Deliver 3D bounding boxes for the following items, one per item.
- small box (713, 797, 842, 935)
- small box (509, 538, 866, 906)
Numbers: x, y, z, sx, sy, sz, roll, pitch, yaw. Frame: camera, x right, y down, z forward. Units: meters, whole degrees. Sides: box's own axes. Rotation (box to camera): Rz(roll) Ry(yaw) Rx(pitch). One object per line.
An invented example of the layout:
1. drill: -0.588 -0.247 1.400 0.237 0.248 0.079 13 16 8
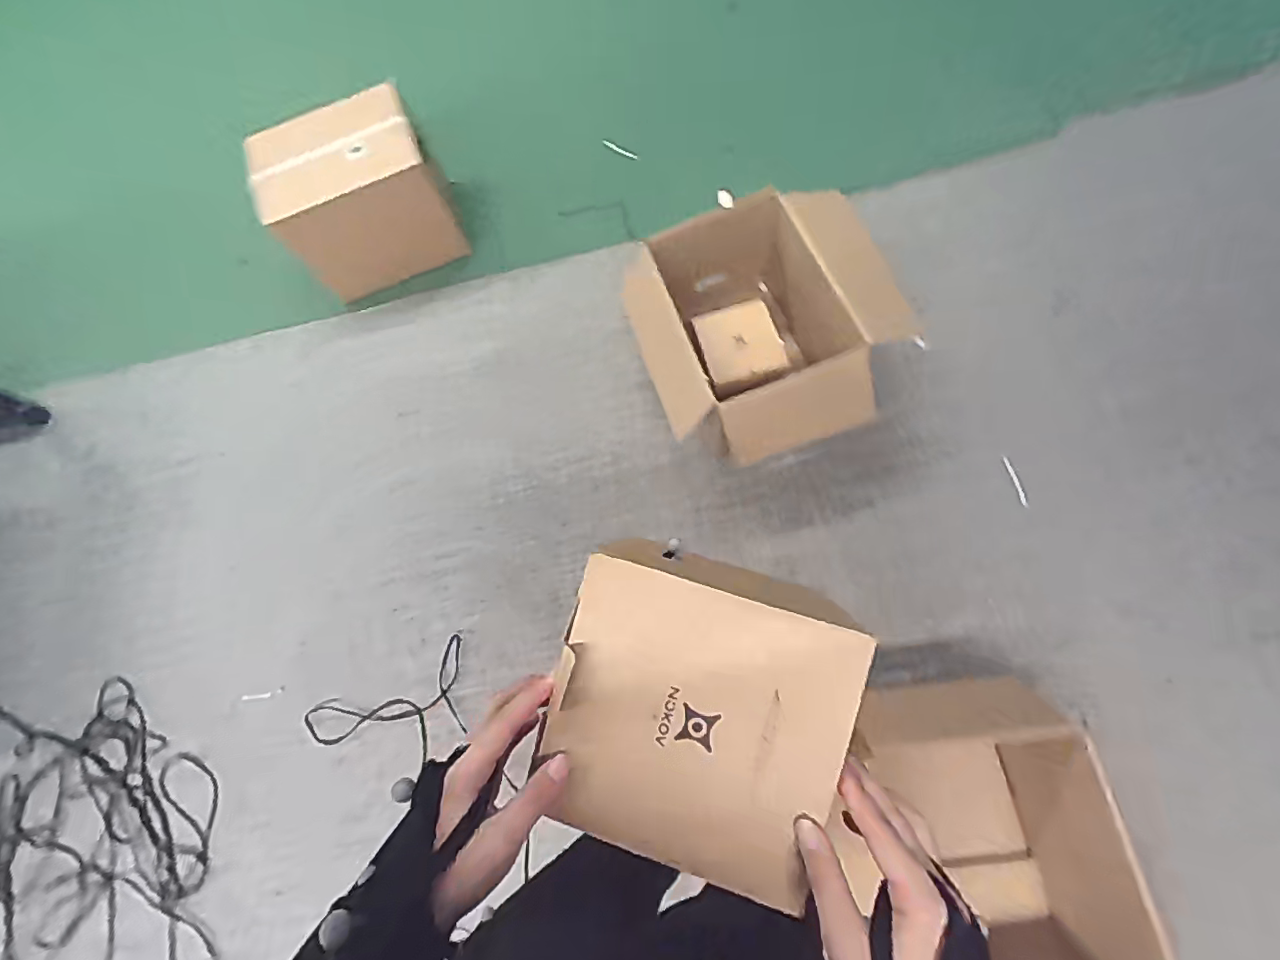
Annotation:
1. small box: 0.230 0.631 0.940 0.176 0.168 0.179 -7 68 45
2. small box: 0.034 0.142 0.392 0.179 0.176 0.168 15 90 7
